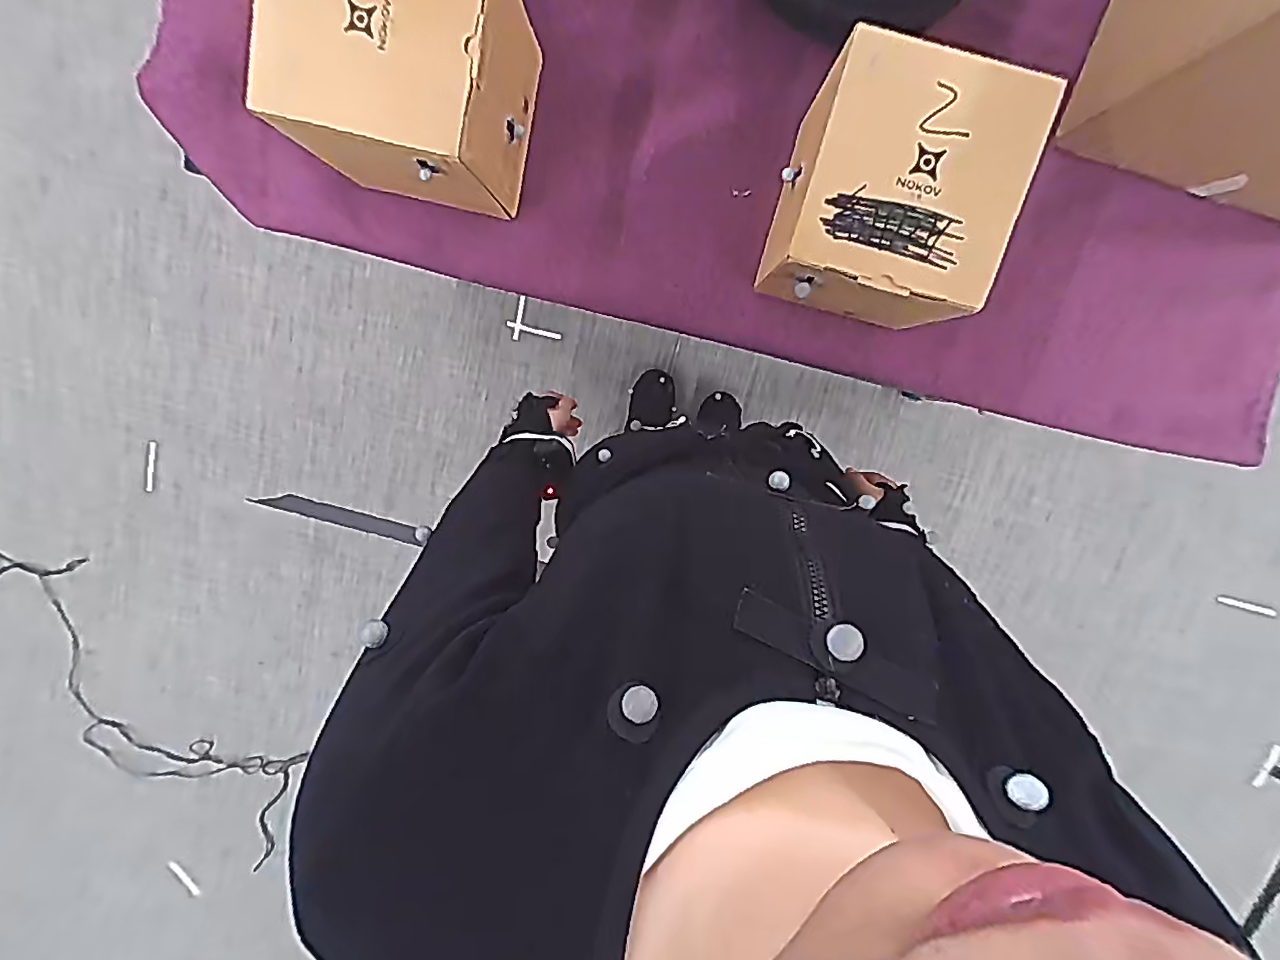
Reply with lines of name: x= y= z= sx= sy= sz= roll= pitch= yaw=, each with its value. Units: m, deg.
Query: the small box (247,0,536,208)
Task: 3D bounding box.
small box: x=-0.209 y=-0.371 z=0.494 sx=0.179 sy=0.176 sz=0.168 roll=12 pitch=101 yaw=-1
